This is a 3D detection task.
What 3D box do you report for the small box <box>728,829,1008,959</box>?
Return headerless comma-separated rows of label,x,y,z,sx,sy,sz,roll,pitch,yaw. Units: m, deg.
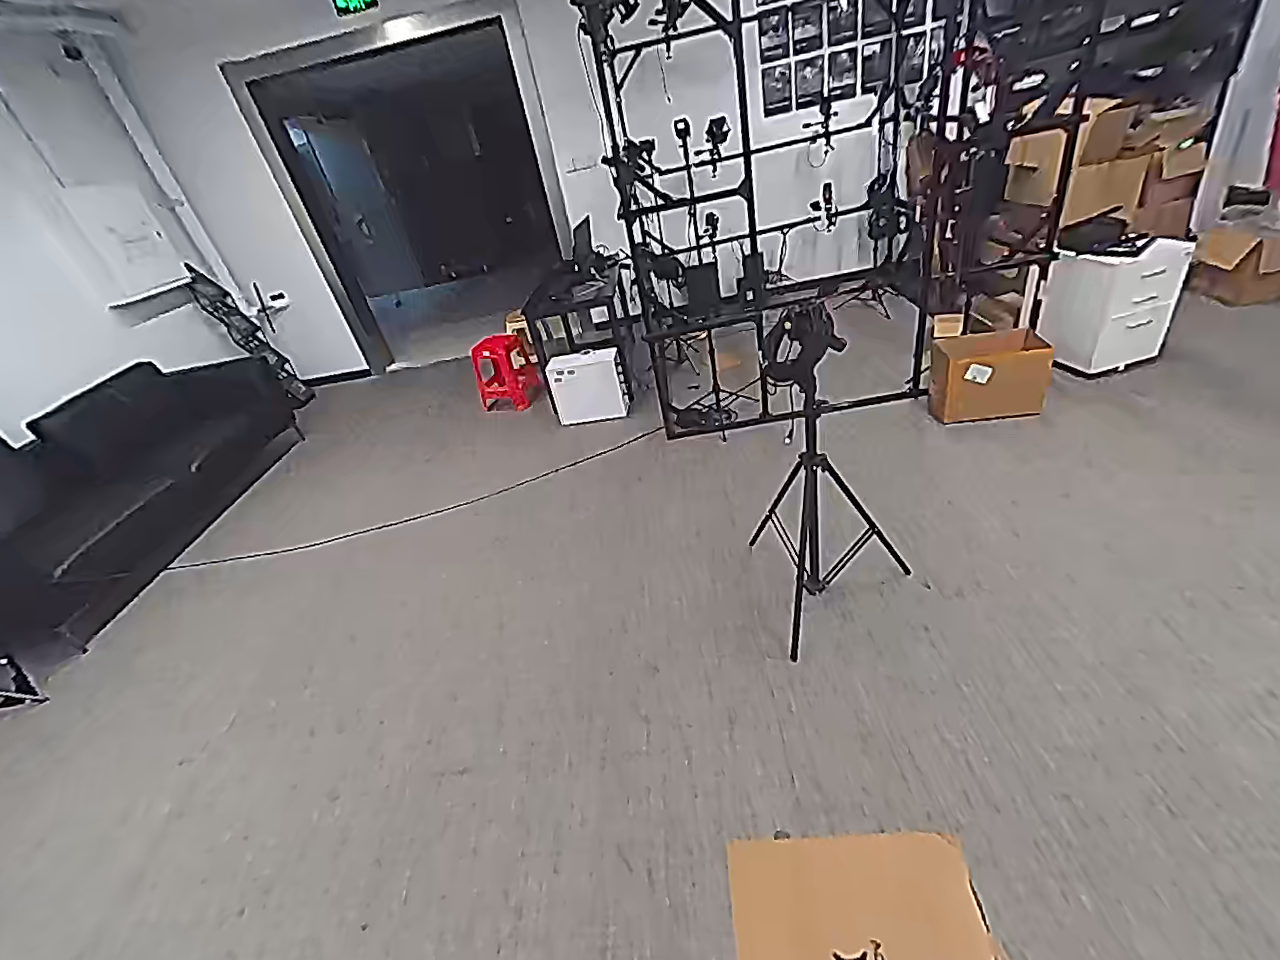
small box,0.171,0.387,0.406,0.179,0.176,0.168,-9,40,9
